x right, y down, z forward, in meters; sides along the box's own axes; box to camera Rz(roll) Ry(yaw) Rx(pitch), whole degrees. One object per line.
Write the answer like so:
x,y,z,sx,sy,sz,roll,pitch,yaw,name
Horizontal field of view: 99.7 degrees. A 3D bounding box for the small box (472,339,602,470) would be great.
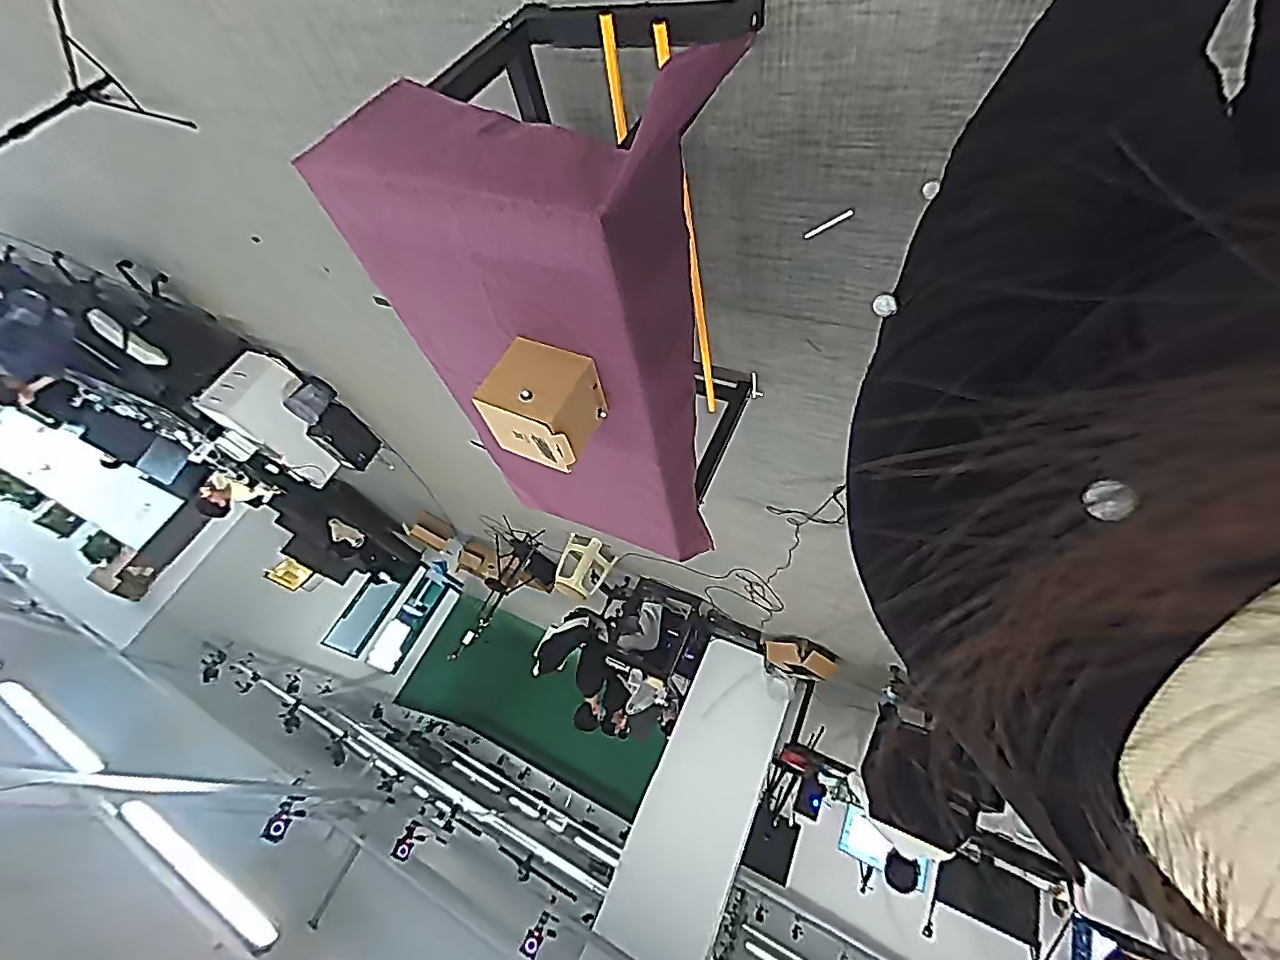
-0.189,-0.152,1.068,0.179,0.176,0.168,21,155,19,small box
